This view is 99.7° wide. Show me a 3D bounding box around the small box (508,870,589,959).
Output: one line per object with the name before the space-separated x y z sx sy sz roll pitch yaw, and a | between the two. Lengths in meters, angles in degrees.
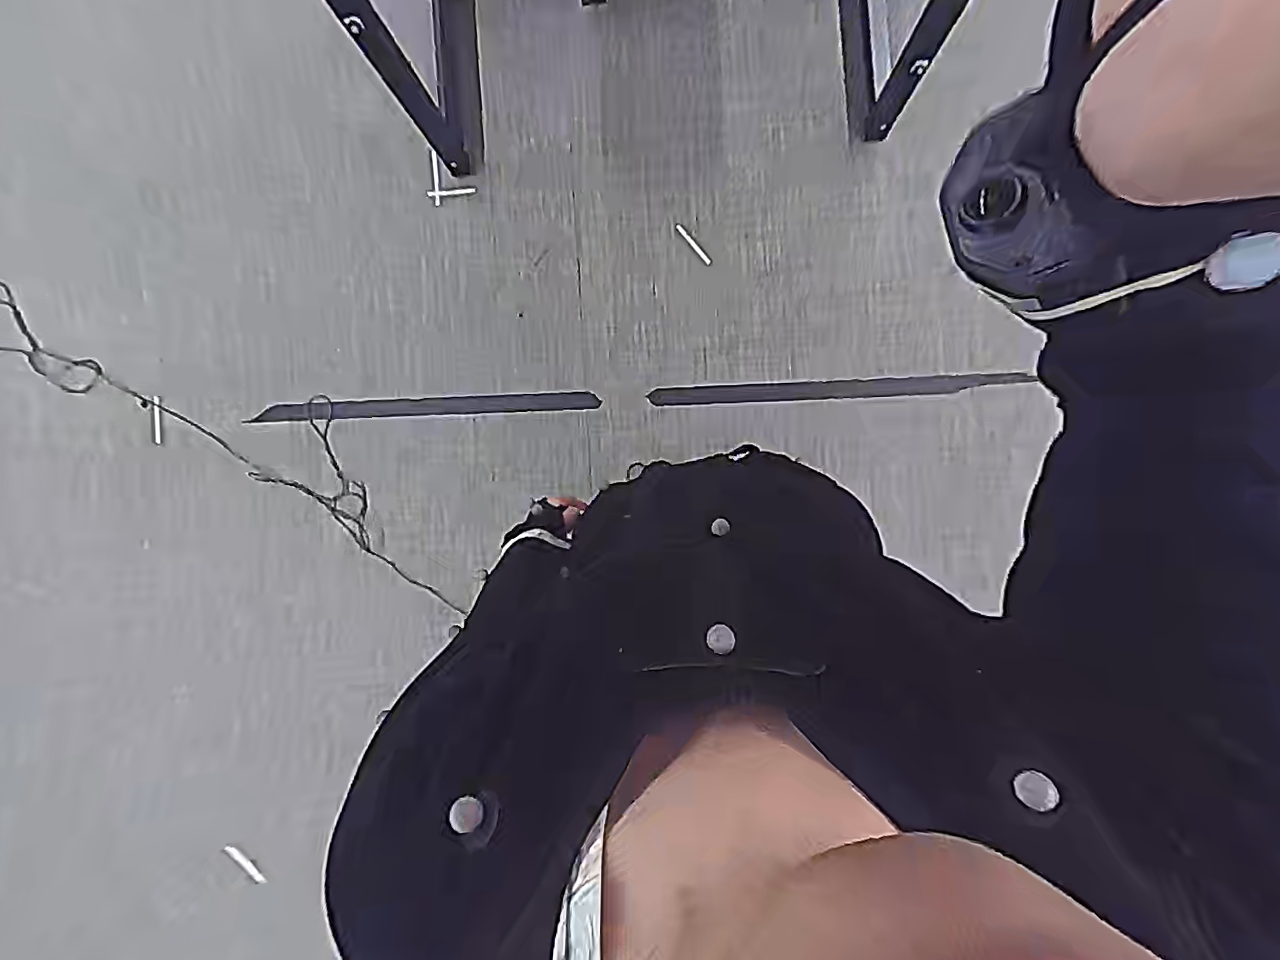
small box | -0.235 1.165 1.424 0.168 0.176 0.179 -8 90 3
